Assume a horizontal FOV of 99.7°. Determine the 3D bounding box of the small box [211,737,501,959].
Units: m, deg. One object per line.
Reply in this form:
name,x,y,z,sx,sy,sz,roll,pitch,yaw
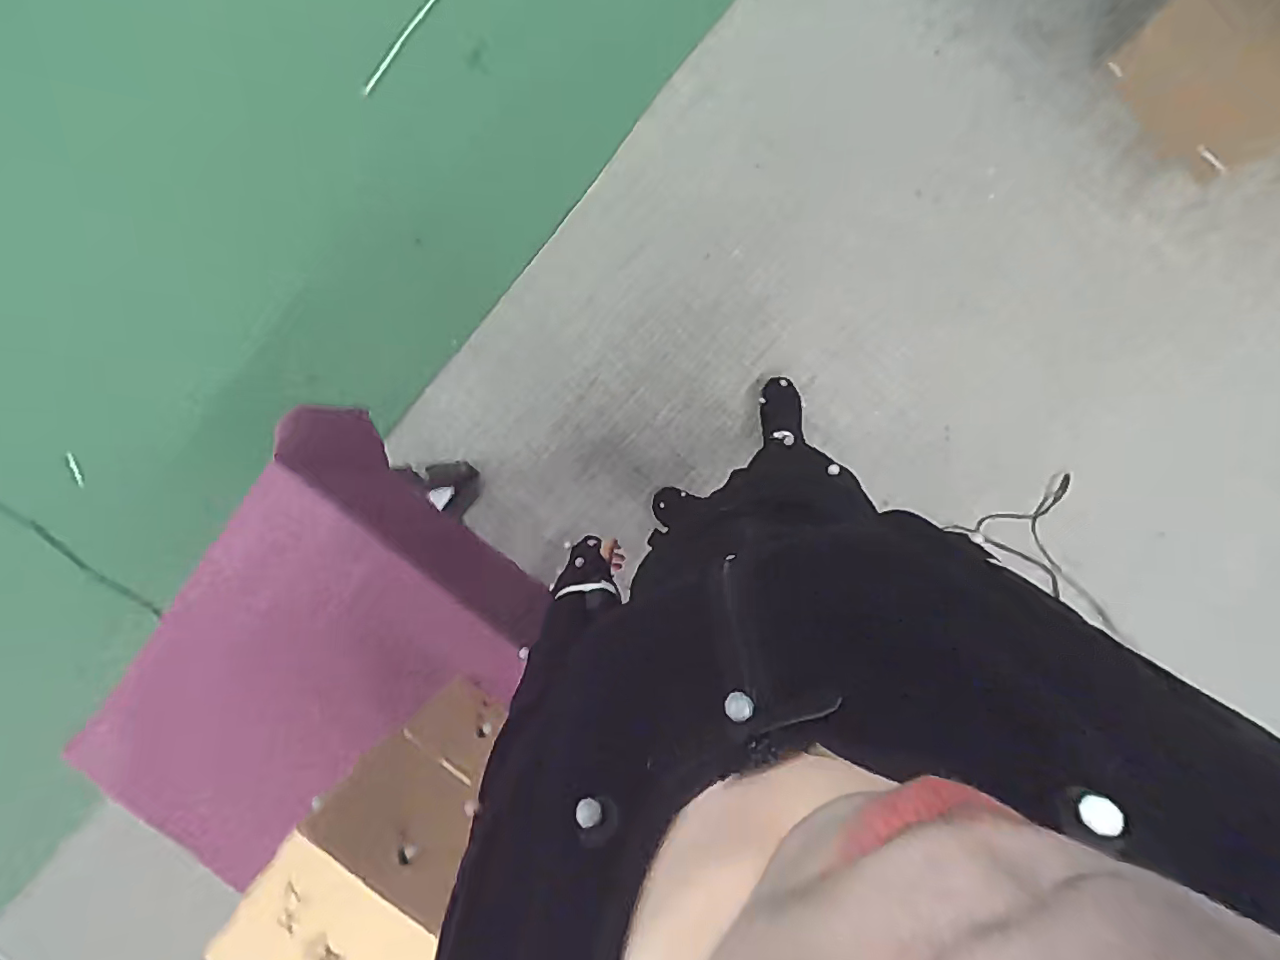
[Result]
small box,-0.276,0.415,0.571,0.179,0.176,0.168,37,95,1
